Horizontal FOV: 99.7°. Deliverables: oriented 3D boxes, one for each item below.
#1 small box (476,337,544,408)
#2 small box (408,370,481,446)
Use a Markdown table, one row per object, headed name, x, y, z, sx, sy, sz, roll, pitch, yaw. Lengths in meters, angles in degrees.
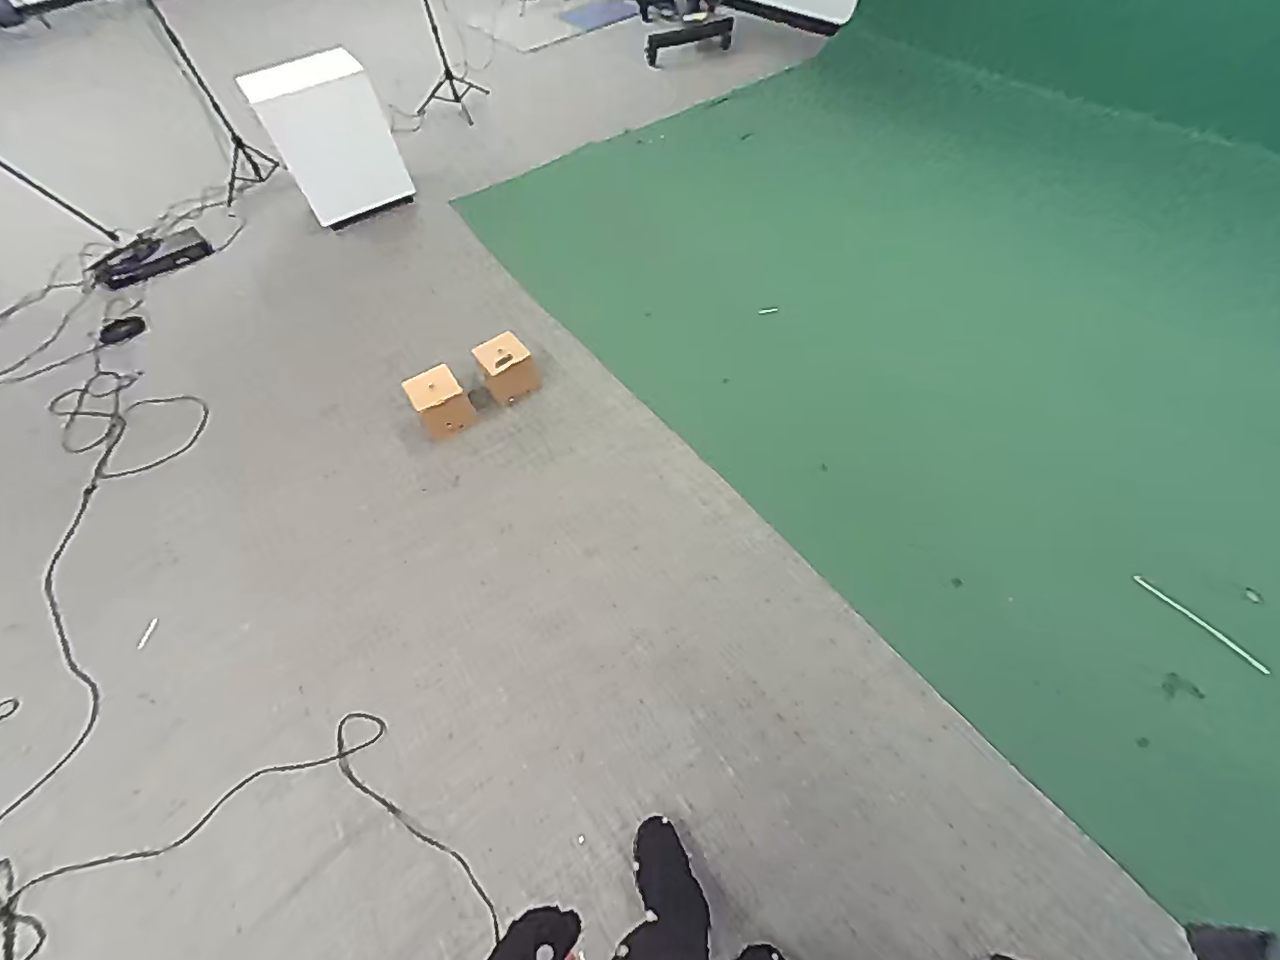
| name | x | y | z | sx | sy | sz | roll | pitch | yaw |
| --- | --- | --- | --- | --- | --- | --- | --- | --- | --- |
| small box | -0.478 | -0.392 | 2.014 | 0.168 | 0.176 | 0.179 | -33 | 58 | -18 |
| small box | -0.697 | -0.256 | 1.937 | 0.168 | 0.176 | 0.179 | -30 | 58 | -16 |
